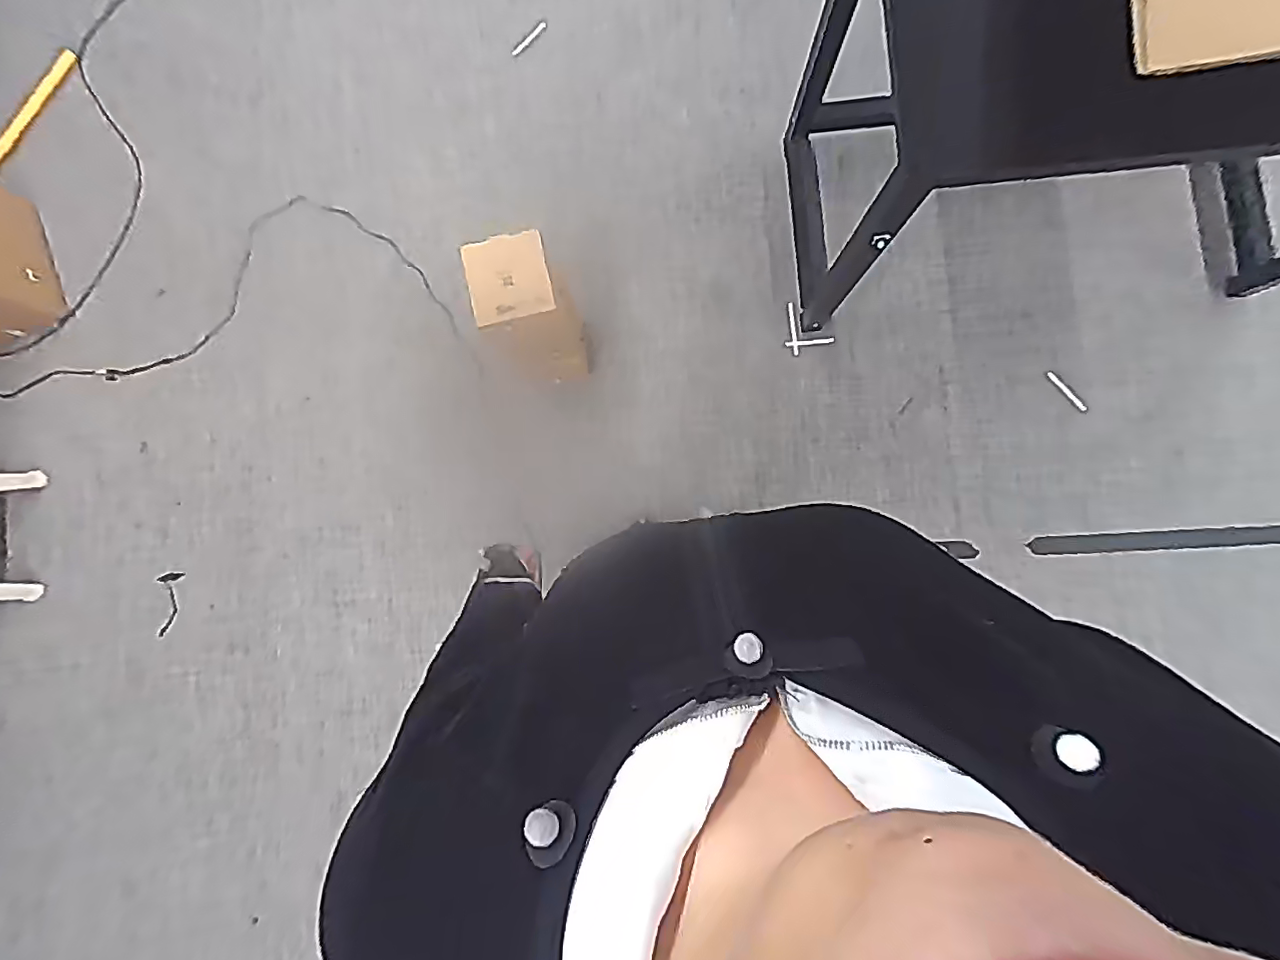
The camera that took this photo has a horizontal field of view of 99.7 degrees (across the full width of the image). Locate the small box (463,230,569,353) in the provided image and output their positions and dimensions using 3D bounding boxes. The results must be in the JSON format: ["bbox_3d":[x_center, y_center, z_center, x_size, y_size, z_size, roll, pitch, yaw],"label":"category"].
[{"bbox_3d":[-0.259,-0.397,1.161,0.168,0.176,0.179,-13,85,2],"label":"small box"}]

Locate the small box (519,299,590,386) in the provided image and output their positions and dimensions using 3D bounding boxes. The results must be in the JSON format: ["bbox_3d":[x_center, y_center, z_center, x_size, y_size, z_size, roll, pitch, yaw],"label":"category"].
[{"bbox_3d":[-0.238,-0.372,1.486,0.168,0.176,0.179,-8,86,3],"label":"small box"}]
